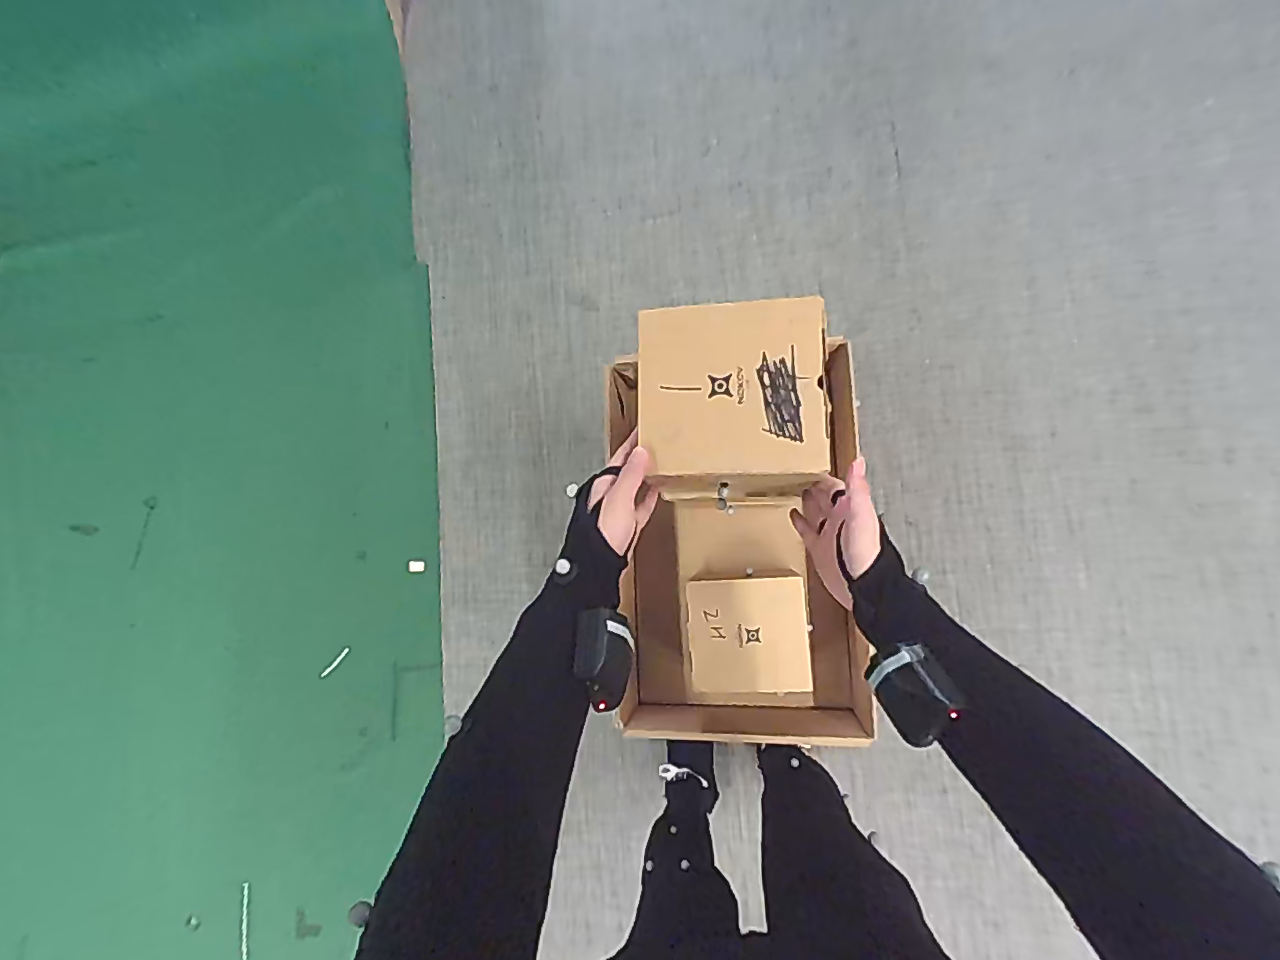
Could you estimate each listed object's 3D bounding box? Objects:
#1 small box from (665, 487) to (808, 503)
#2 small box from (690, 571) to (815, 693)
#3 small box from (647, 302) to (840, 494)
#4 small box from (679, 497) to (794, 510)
[{"bbox_3d":[0.134,-0.053,0.747,0.179,0.176,0.168,-1,86,11],"label":"small box"},{"bbox_3d":[0.176,0.236,0.873,0.179,0.176,0.168,-3,83,10],"label":"small box"},{"bbox_3d":[0.106,-0.075,0.581,0.179,0.176,0.168,0,83,9],"label":"small box"},{"bbox_3d":[0.162,-0.035,0.907,0.179,0.176,0.168,1,85,10],"label":"small box"}]
